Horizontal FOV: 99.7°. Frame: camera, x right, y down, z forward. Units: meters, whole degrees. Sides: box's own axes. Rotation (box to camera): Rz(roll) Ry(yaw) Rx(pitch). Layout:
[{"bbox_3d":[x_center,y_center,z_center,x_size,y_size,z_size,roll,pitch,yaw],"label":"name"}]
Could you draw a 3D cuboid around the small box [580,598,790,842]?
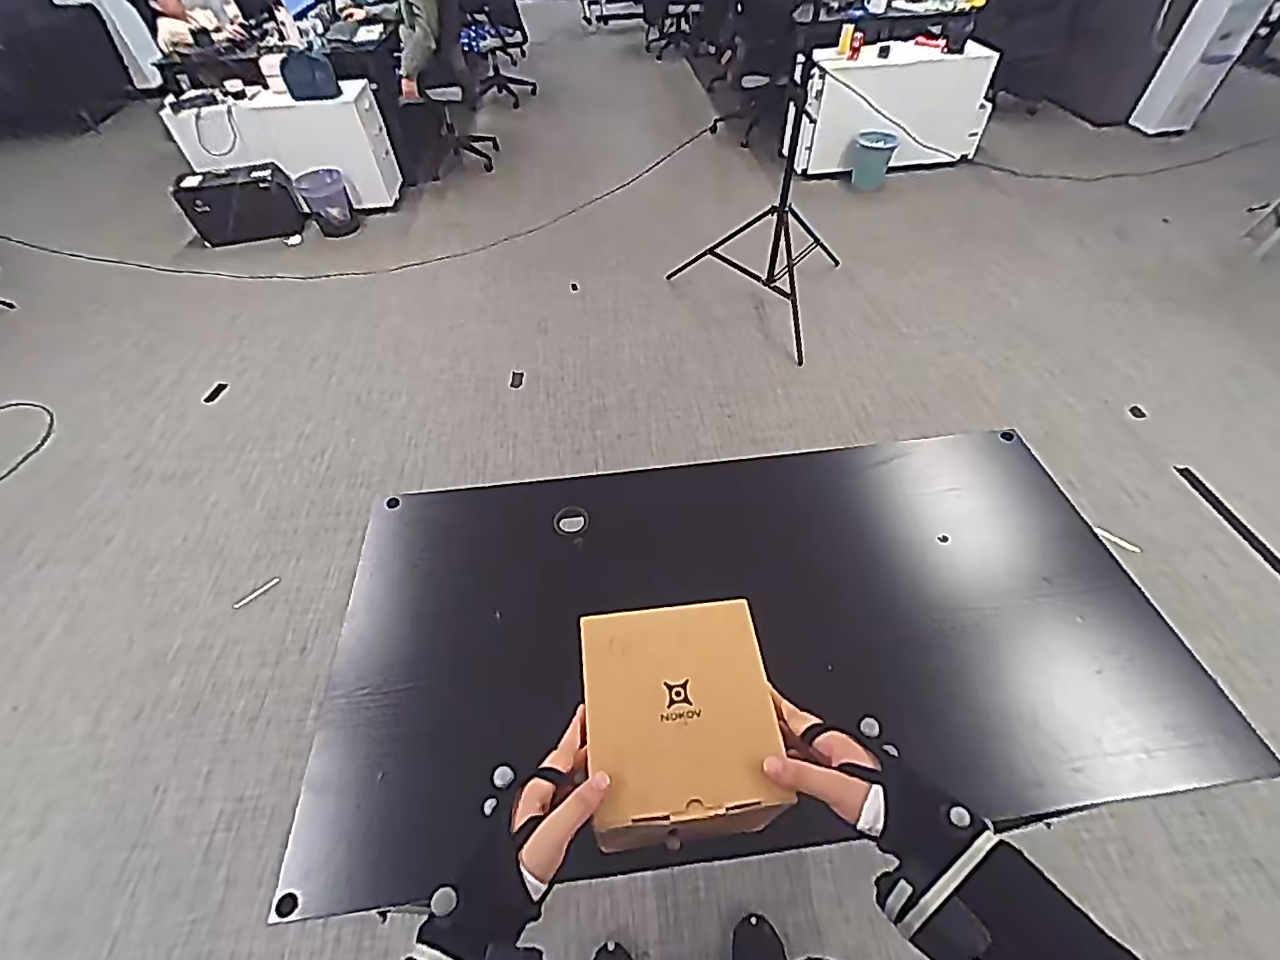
[{"bbox_3d":[0.029,0.239,0.538,0.168,0.176,0.179,-5,52,-4],"label":"small box"}]
